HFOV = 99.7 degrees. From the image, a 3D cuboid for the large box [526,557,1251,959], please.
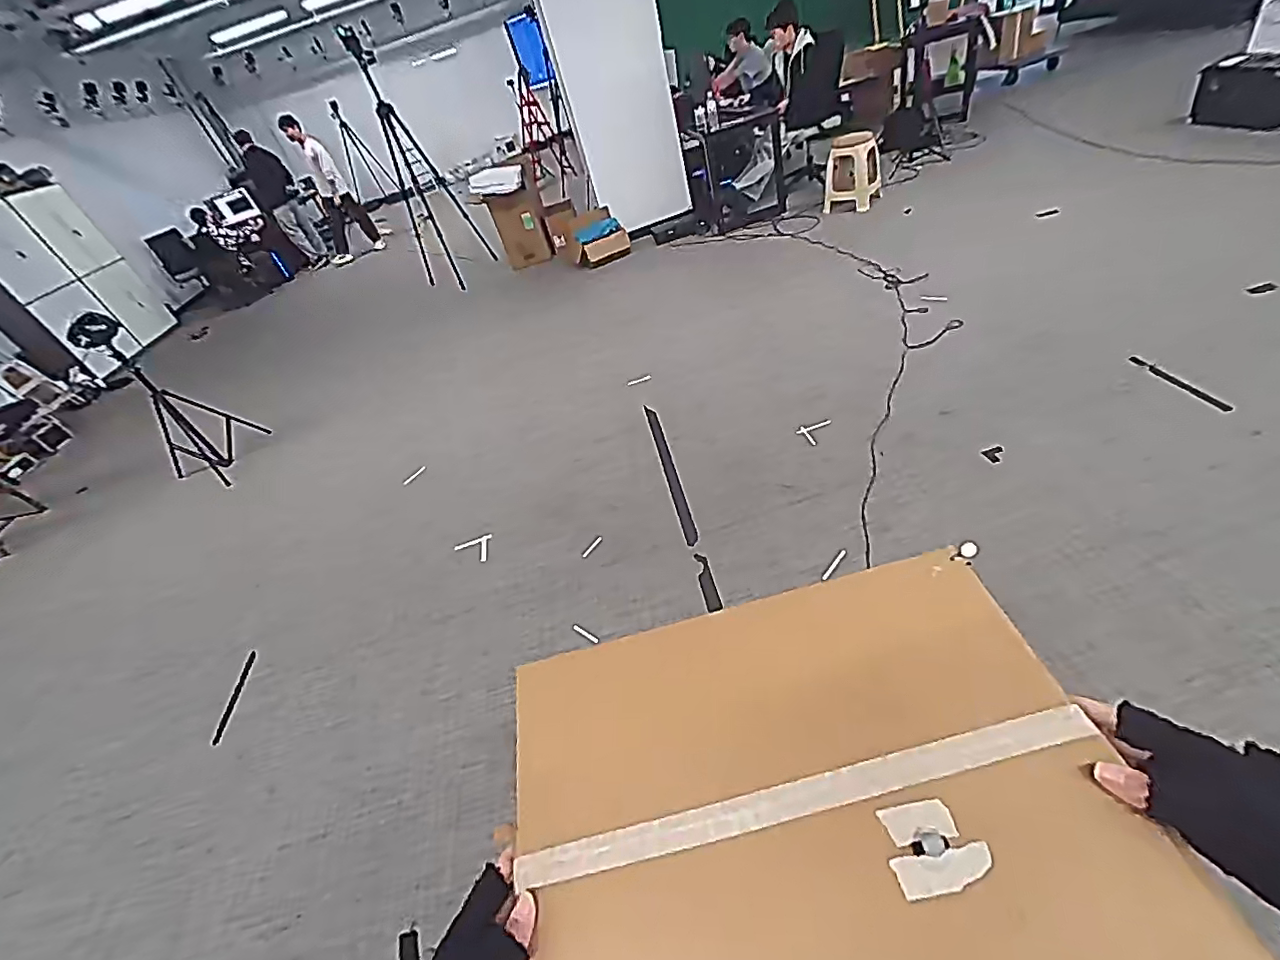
[{"bbox_3d":[0.142,0.329,0.490,0.408,0.320,0.320,-16,45,0],"label":"large box"}]
